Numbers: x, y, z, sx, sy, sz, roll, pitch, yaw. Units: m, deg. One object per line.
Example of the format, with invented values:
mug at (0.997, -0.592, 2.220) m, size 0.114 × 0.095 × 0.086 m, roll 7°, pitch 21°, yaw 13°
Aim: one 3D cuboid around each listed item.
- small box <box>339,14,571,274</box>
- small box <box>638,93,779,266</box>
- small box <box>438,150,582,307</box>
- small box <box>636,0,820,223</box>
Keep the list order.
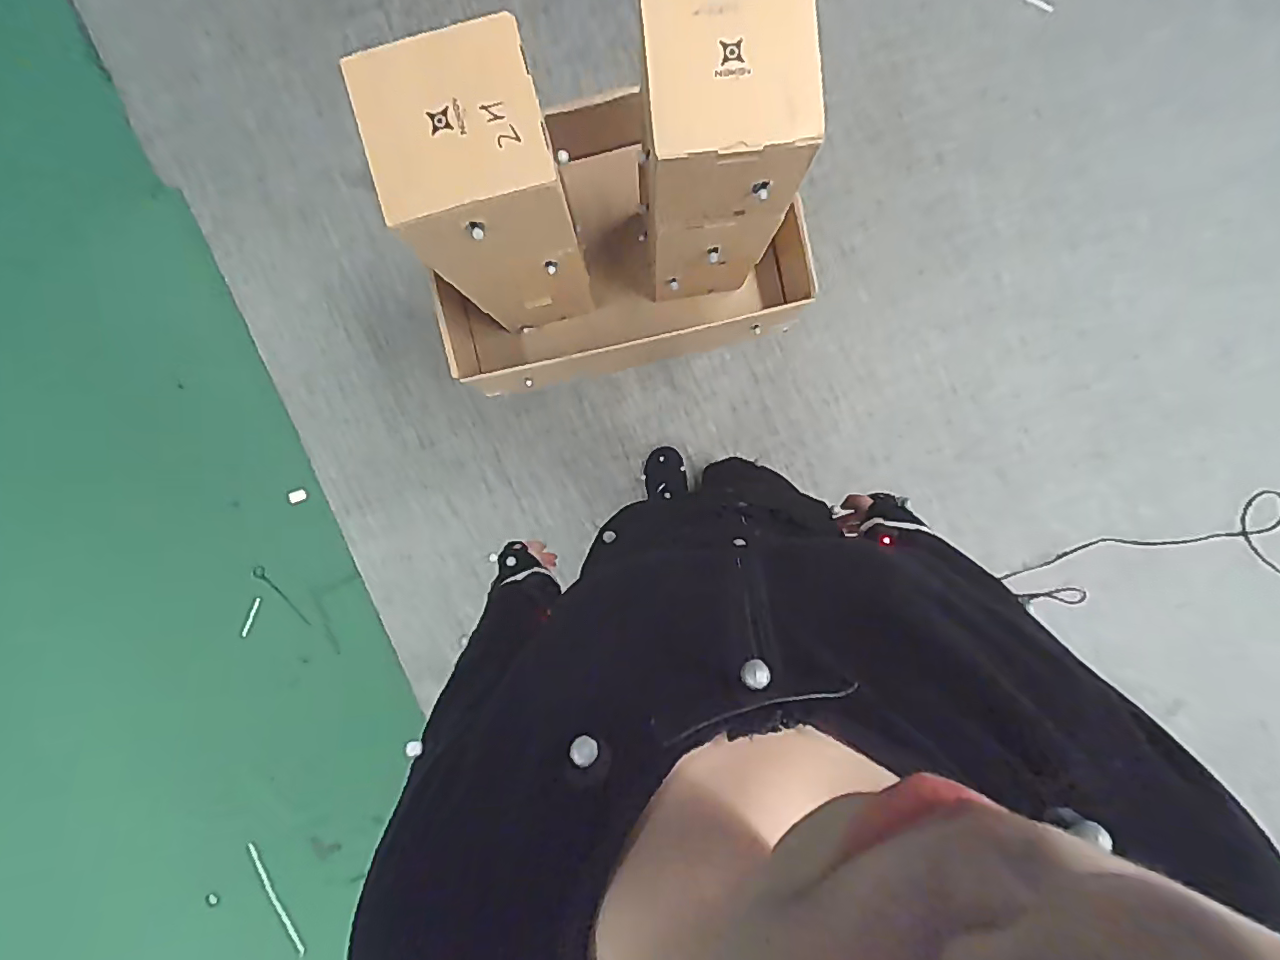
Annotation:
small box at (-0.187, -0.349, 0.599) m, size 0.179 × 0.176 × 0.168 m, roll -14°, pitch 93°, yaw 0°
small box at (0.088, -0.412, 0.756) m, size 0.168 × 0.176 × 0.179 m, roll -6°, pitch 94°, yaw 0°
small box at (-0.189, -0.360, 0.764) m, size 0.179 × 0.176 × 0.168 m, roll -14°, pitch 93°, yaw -1°
small box at (0.086, -0.402, 0.593) m, size 0.168 × 0.176 × 0.179 m, roll -5°, pitch 92°, yaw 0°
